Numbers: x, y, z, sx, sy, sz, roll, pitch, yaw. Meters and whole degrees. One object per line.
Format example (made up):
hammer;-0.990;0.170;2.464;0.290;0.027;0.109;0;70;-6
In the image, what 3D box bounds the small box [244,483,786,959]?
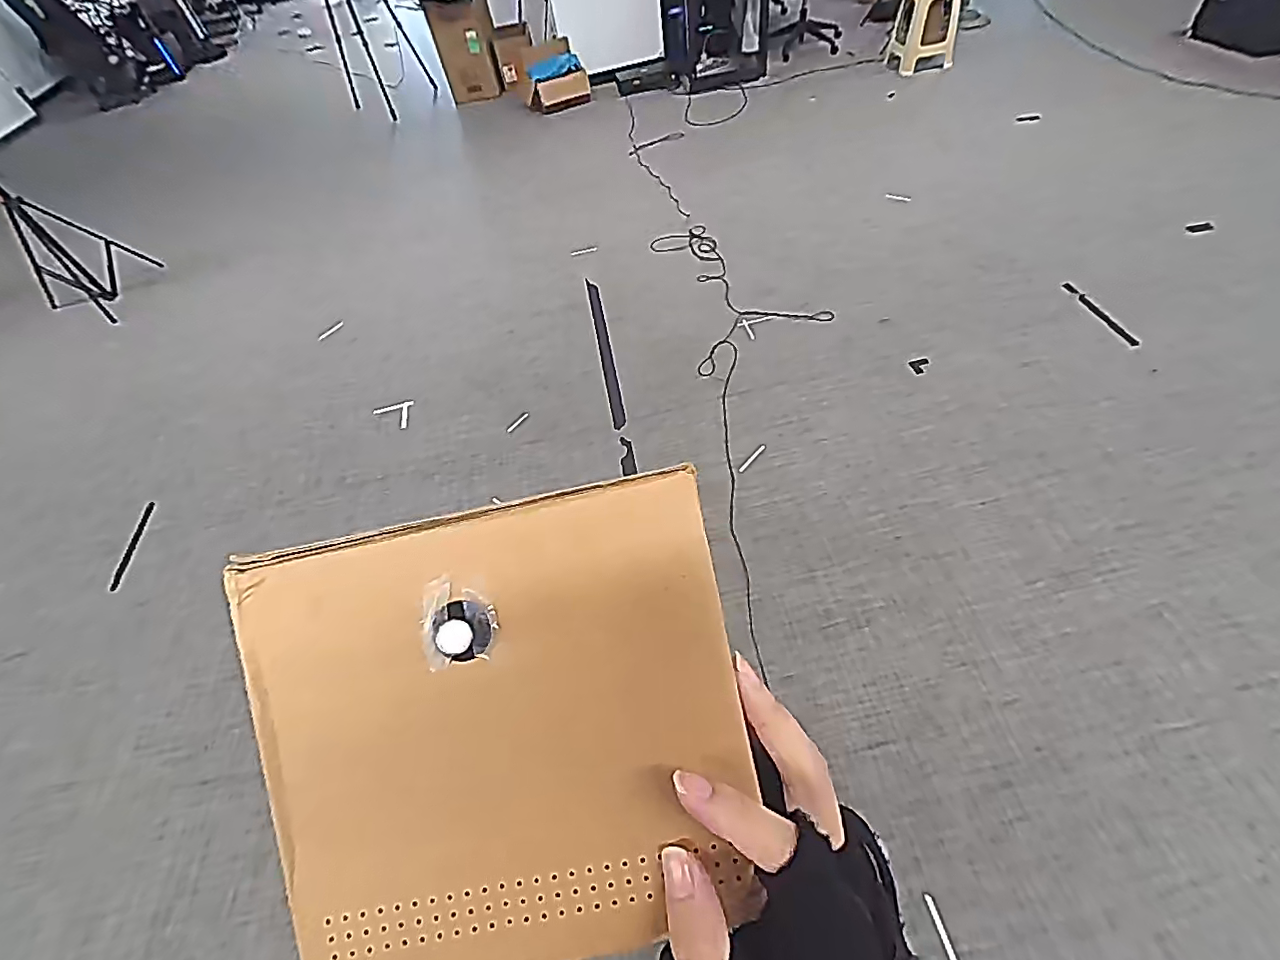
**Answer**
small box;-0.044;0.101;0.273;0.179;0.168;0.176;-12;90;2
